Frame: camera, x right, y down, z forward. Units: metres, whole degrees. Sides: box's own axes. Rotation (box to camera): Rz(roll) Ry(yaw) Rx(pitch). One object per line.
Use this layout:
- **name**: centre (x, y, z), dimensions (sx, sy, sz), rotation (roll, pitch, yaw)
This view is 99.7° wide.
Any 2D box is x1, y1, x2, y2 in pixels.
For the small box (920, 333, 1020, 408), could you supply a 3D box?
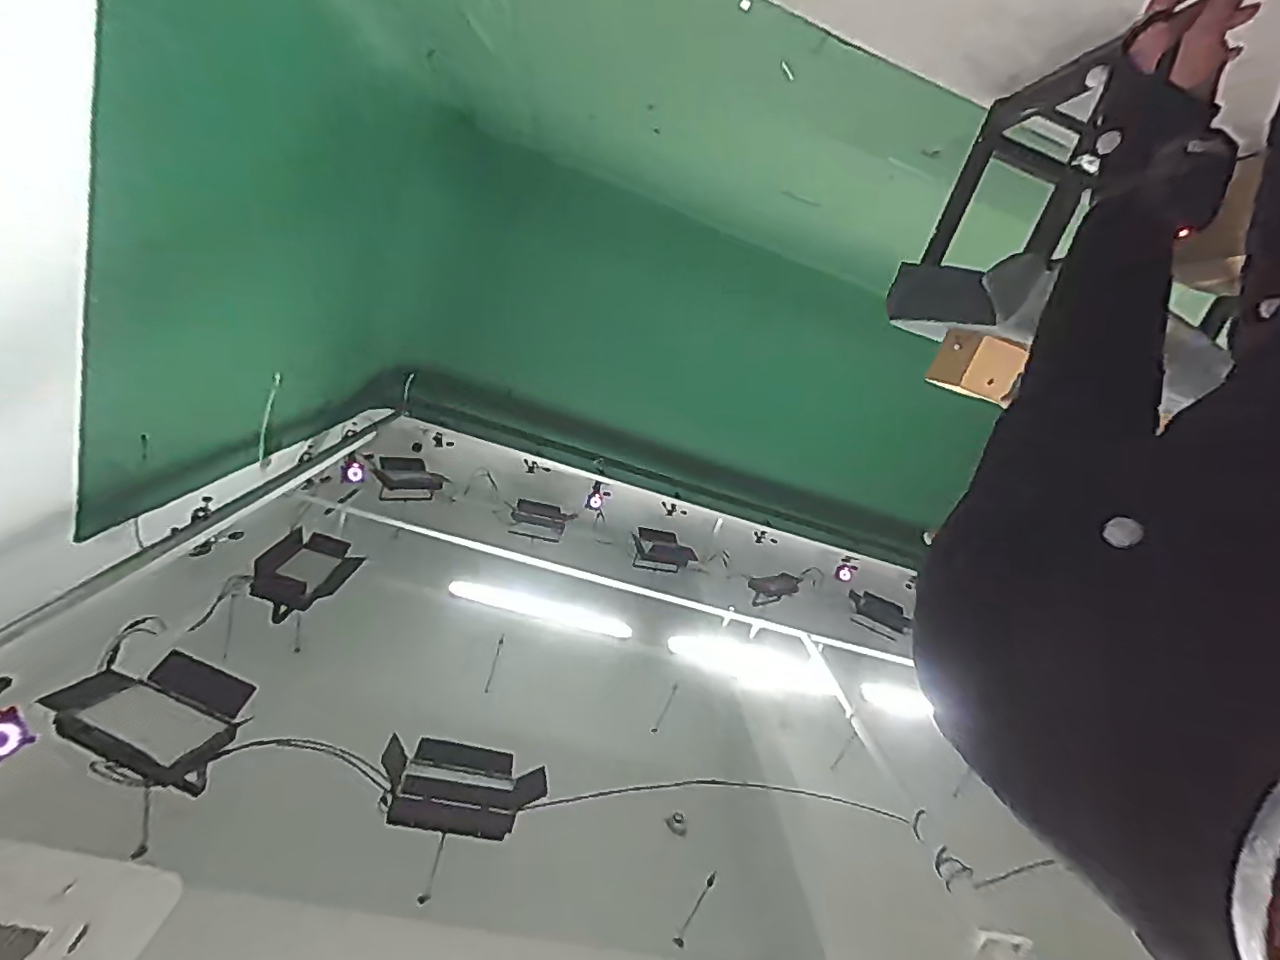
- **small box**: centre (1.039, -0.347, 1.702), dimensions (0.179, 0.176, 0.168), rotation (17, -164, -15)
